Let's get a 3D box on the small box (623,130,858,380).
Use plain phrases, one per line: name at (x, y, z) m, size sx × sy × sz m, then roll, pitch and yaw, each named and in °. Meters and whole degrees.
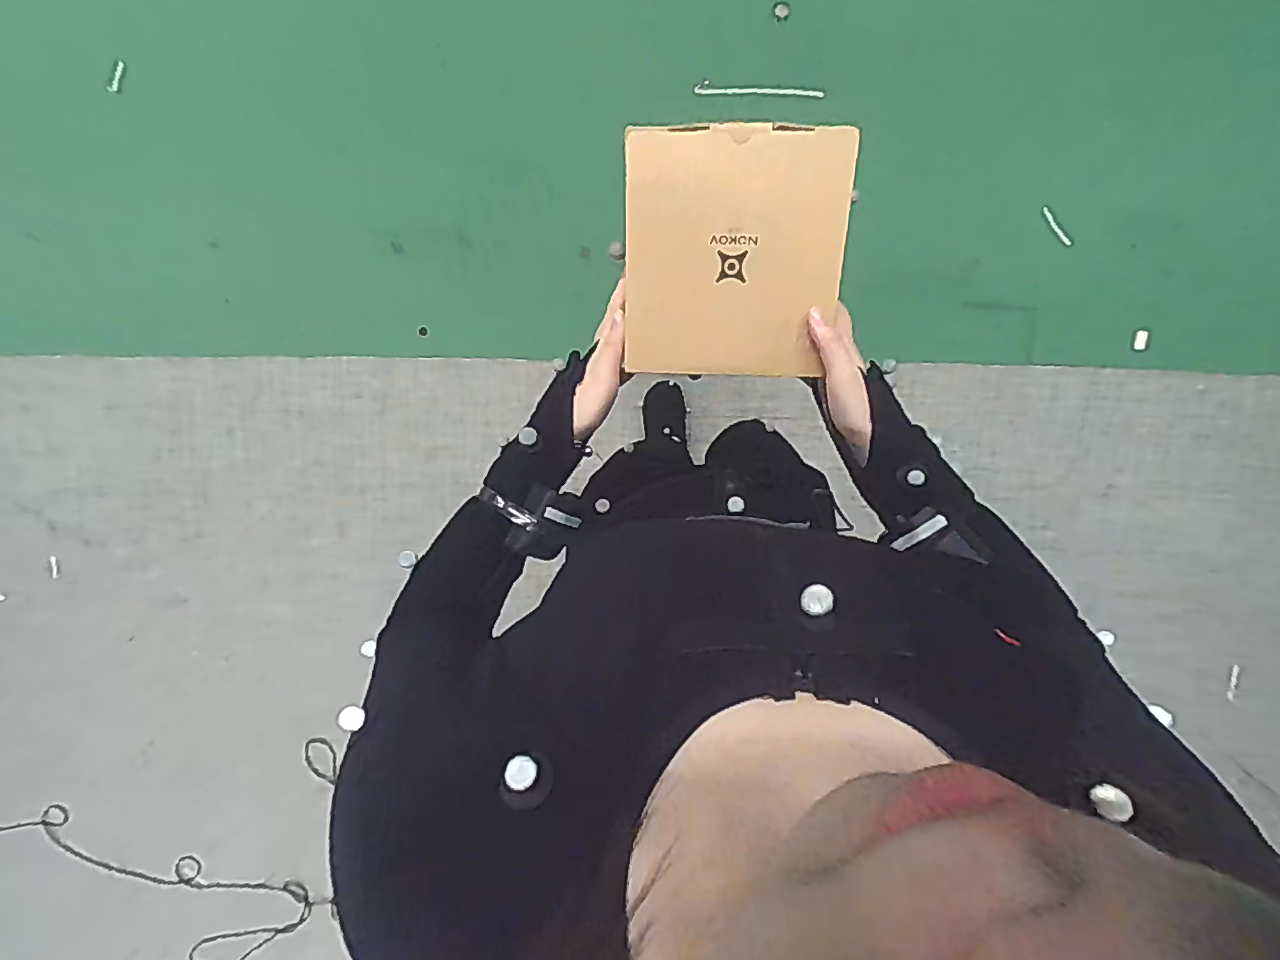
small box at (0.075, -0.193, 0.483) m, size 0.168 × 0.176 × 0.179 m, roll 2°, pitch 110°, yaw 3°
